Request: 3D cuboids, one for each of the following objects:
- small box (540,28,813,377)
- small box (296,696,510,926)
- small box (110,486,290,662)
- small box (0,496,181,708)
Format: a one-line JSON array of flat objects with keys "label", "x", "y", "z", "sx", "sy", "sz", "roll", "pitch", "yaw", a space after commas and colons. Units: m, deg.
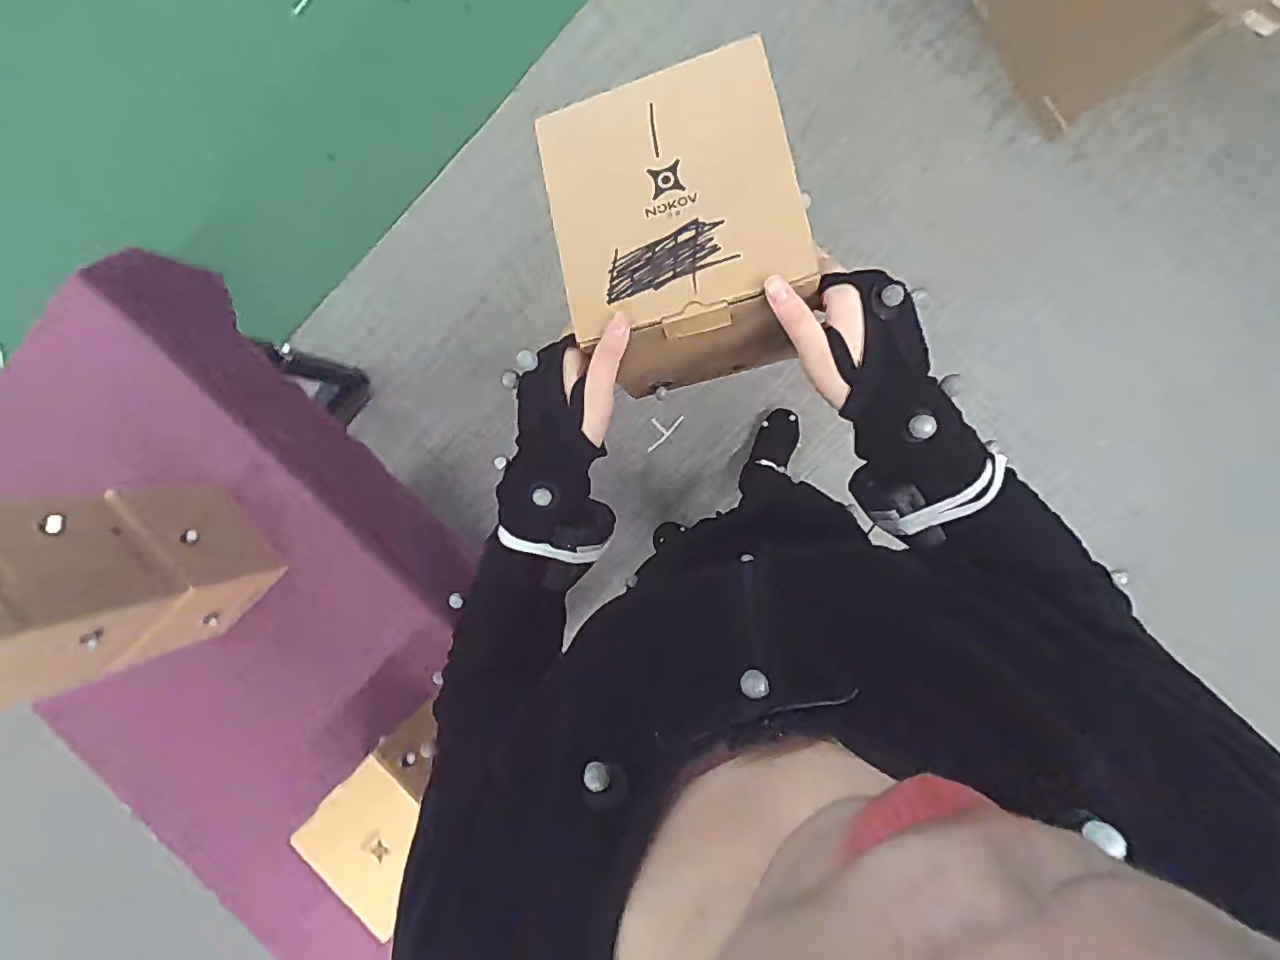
[{"label": "small box", "x": 0.039, "y": -0.195, "z": 0.445, "sx": 0.168, "sy": 0.176, "sz": 0.179, "roll": -13, "pitch": 83, "yaw": 13}, {"label": "small box", "x": -0.314, "y": 0.443, "z": 0.755, "sx": 0.179, "sy": 0.176, "sz": 0.168, "roll": 44, "pitch": 96, "yaw": 4}, {"label": "small box", "x": -0.666, "y": 0.121, "z": 0.784, "sx": 0.168, "sy": 0.176, "sz": 0.179, "roll": -42, "pitch": 87, "yaw": 6}, {"label": "small box", "x": -0.691, "y": 0.132, "z": 0.624, "sx": 0.179, "sy": 0.176, "sz": 0.168, "roll": -42, "pitch": 86, "yaw": 7}]
